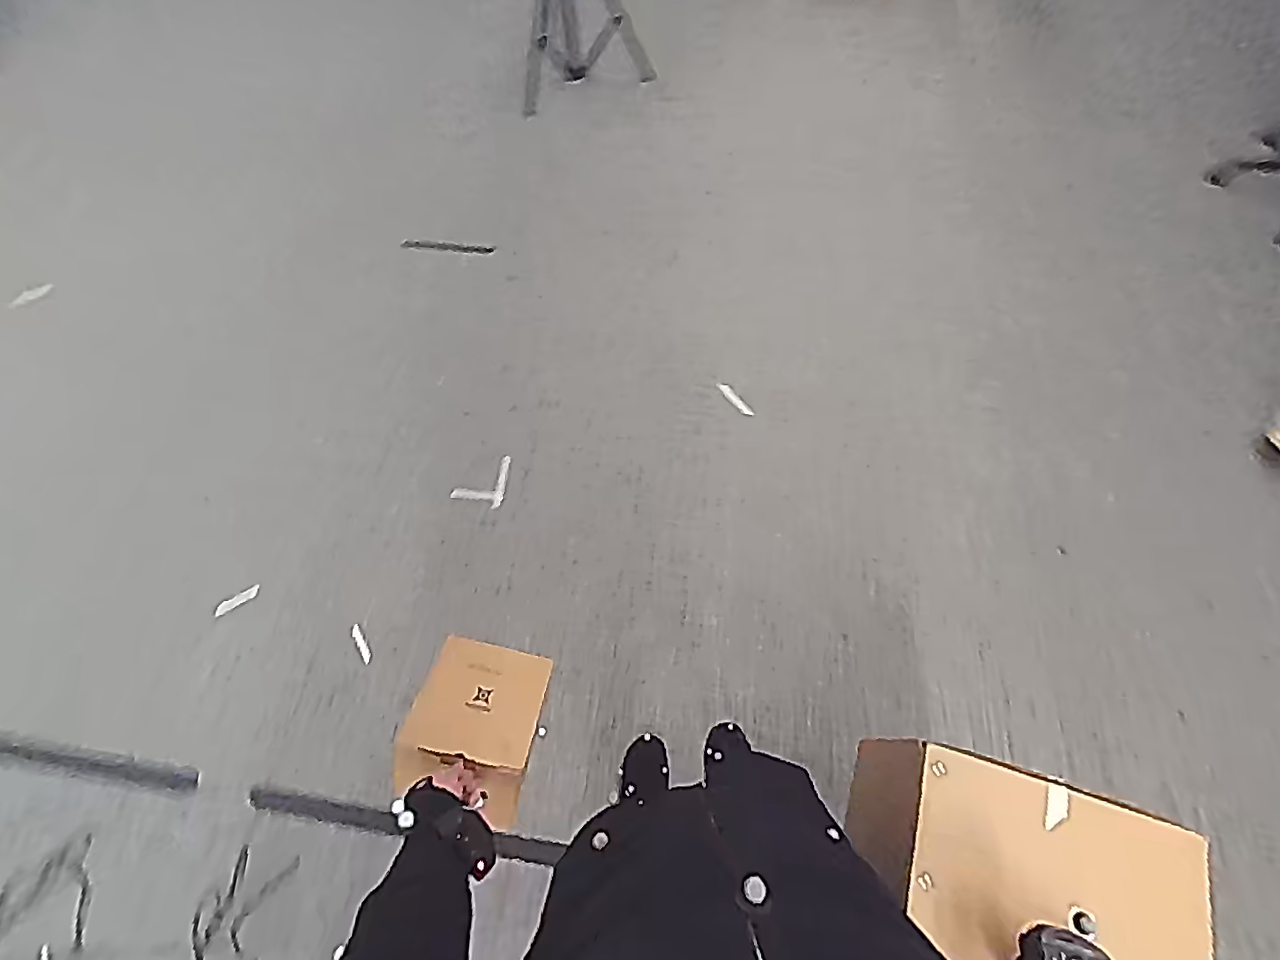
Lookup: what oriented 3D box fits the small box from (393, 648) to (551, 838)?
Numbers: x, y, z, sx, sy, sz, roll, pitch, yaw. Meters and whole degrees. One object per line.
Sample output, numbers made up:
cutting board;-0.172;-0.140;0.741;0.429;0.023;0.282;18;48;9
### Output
small box;-0.238;0.381;0.784;0.168;0.176;0.179;15;31;-5
